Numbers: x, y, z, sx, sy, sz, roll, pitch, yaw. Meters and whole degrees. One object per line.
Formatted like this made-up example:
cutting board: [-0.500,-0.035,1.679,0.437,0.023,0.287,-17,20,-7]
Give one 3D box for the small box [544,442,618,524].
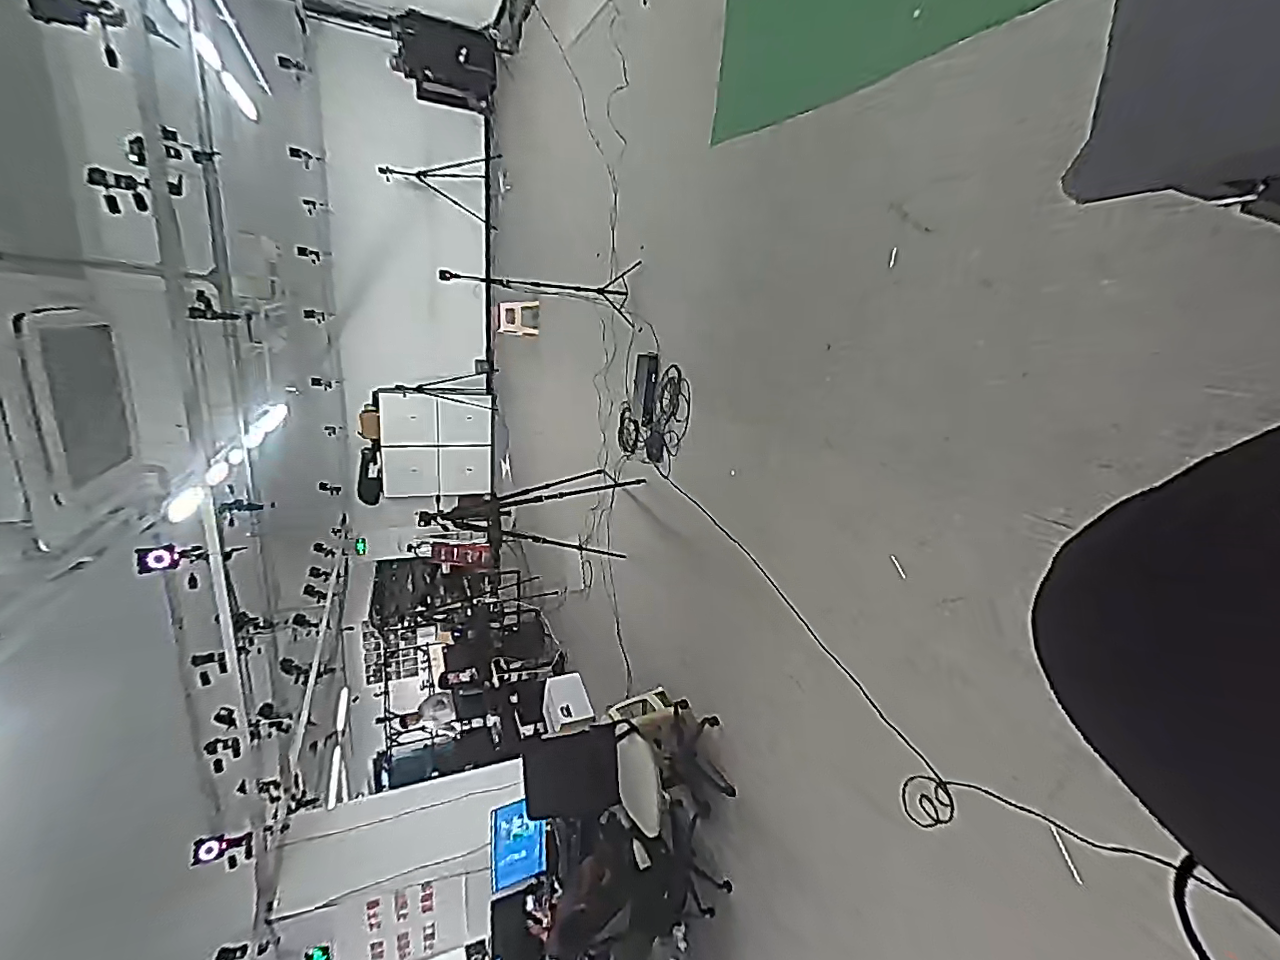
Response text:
small box: [-0.186,0.001,1.705,0.168,0.176,0.179,-28,152,-13]
